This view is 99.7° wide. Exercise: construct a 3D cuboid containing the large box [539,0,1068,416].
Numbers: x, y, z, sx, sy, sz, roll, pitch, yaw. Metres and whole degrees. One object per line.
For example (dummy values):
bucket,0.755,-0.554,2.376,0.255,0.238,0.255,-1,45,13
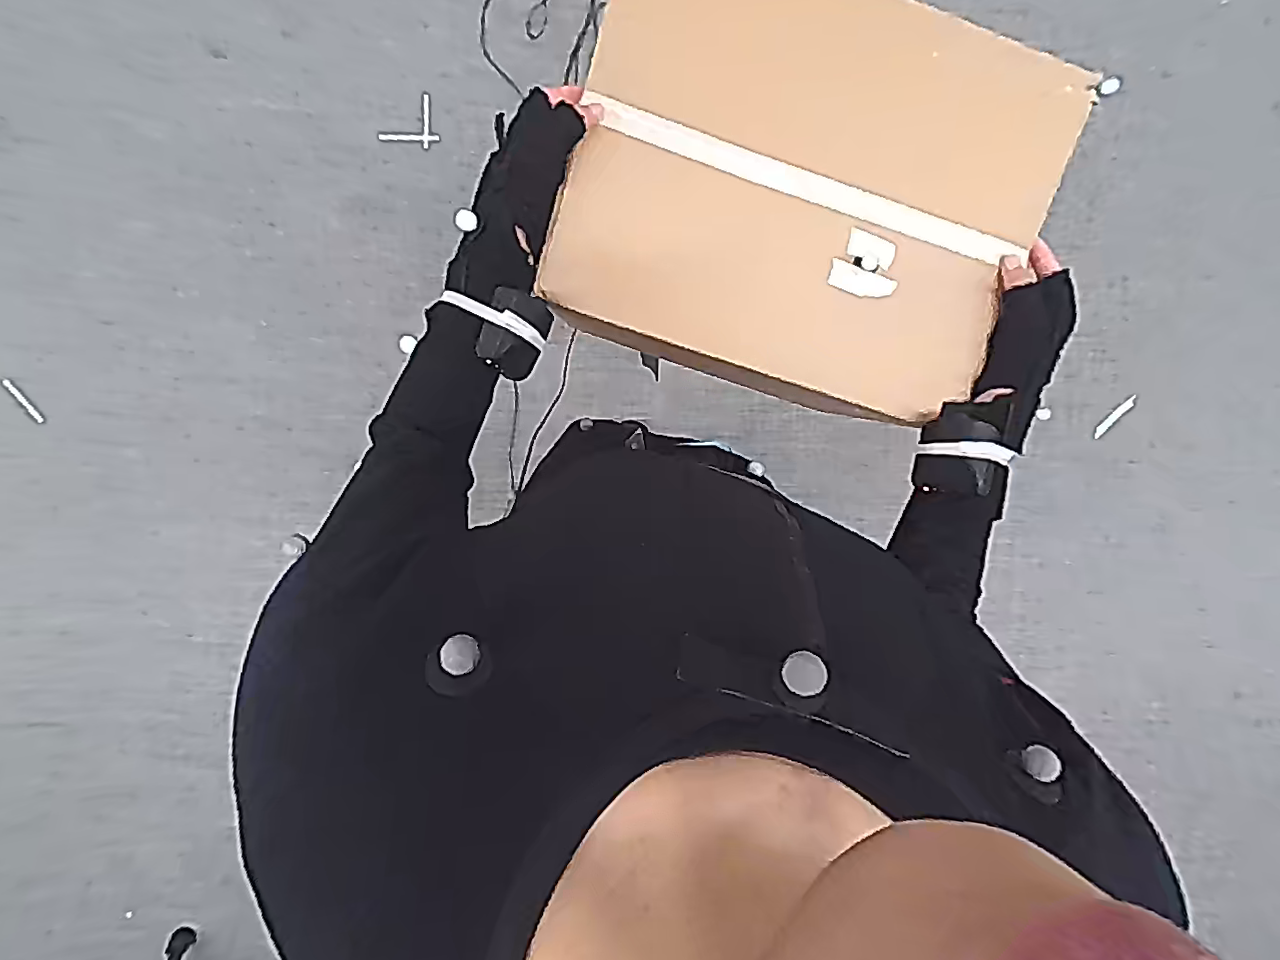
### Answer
large box,0.130,-0.284,0.617,0.408,0.320,0.320,16,101,-6
